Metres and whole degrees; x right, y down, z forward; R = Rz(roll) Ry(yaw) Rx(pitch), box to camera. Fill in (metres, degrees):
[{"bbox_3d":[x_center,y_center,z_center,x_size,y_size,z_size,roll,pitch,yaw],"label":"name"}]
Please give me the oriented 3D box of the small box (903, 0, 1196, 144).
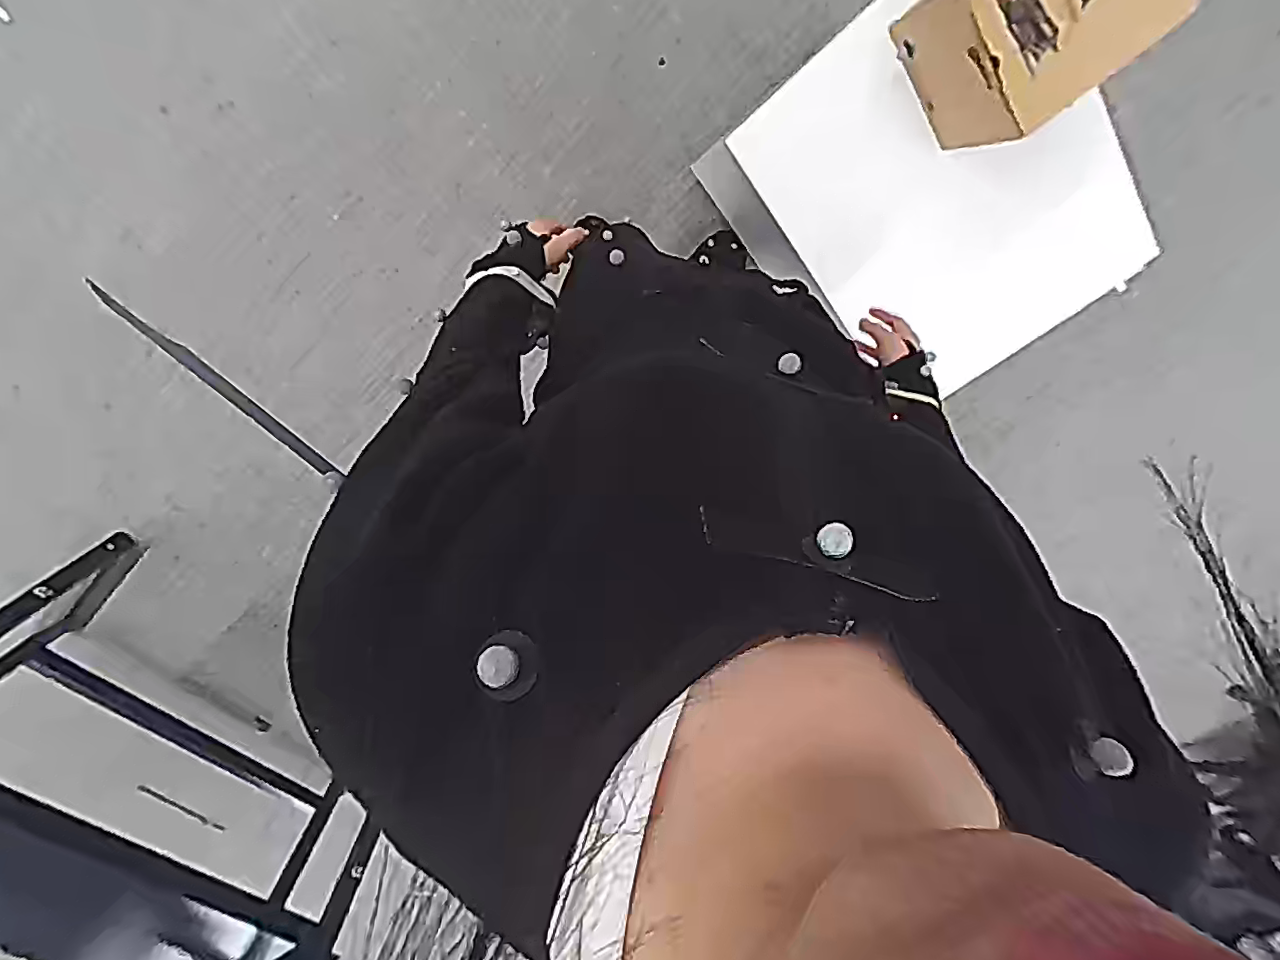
[{"bbox_3d":[0.415,-0.497,0.583,0.179,0.176,0.168,-35,113,16],"label":"small box"}]
